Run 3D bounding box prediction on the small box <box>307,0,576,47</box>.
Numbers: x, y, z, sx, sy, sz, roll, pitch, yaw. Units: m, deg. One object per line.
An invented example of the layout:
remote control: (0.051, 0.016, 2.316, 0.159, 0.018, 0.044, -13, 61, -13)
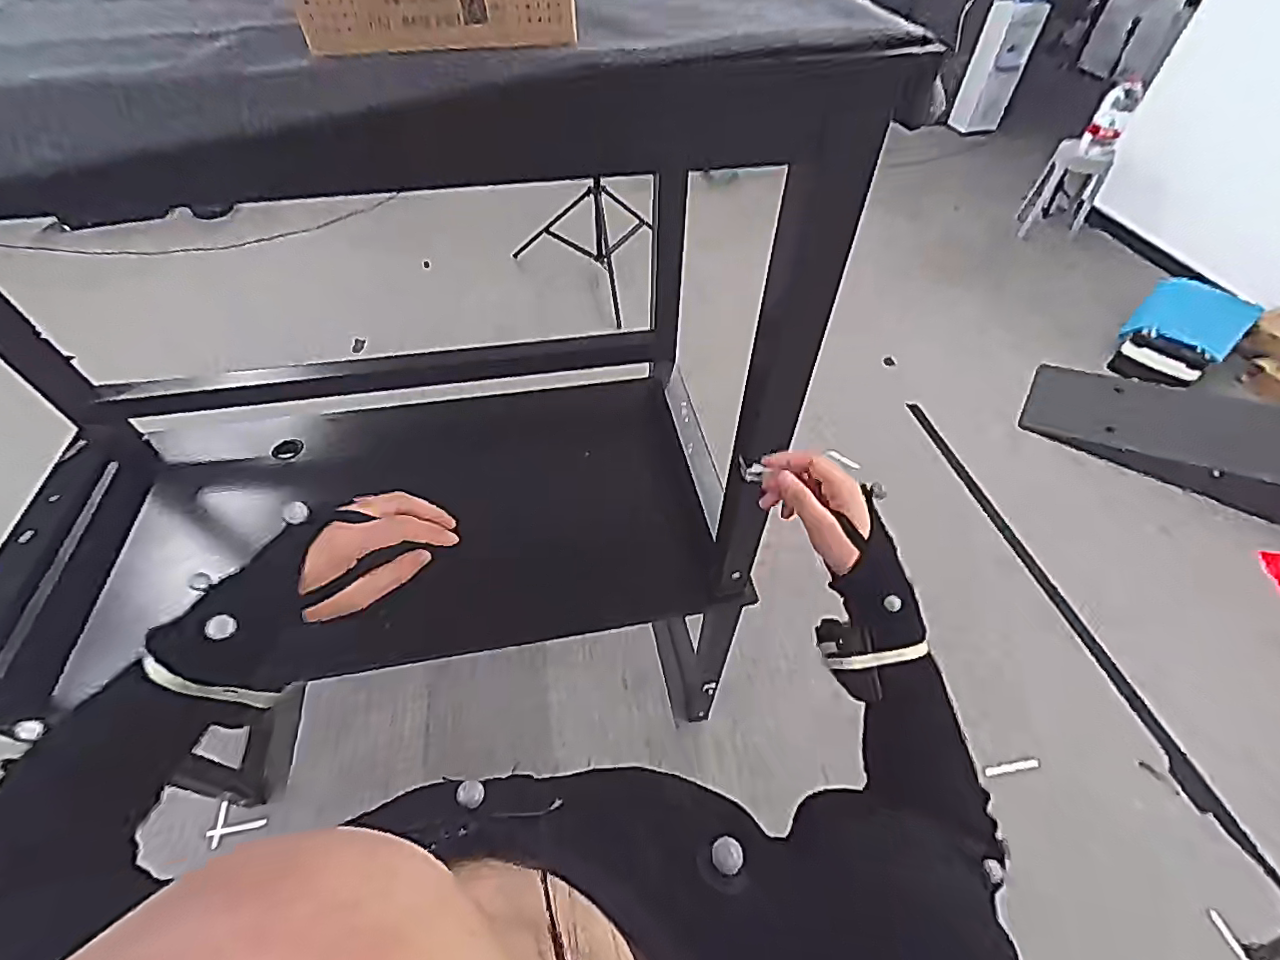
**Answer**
small box: (-0.134, -0.389, 0.331, 0.168, 0.176, 0.179, -8, 50, -5)
